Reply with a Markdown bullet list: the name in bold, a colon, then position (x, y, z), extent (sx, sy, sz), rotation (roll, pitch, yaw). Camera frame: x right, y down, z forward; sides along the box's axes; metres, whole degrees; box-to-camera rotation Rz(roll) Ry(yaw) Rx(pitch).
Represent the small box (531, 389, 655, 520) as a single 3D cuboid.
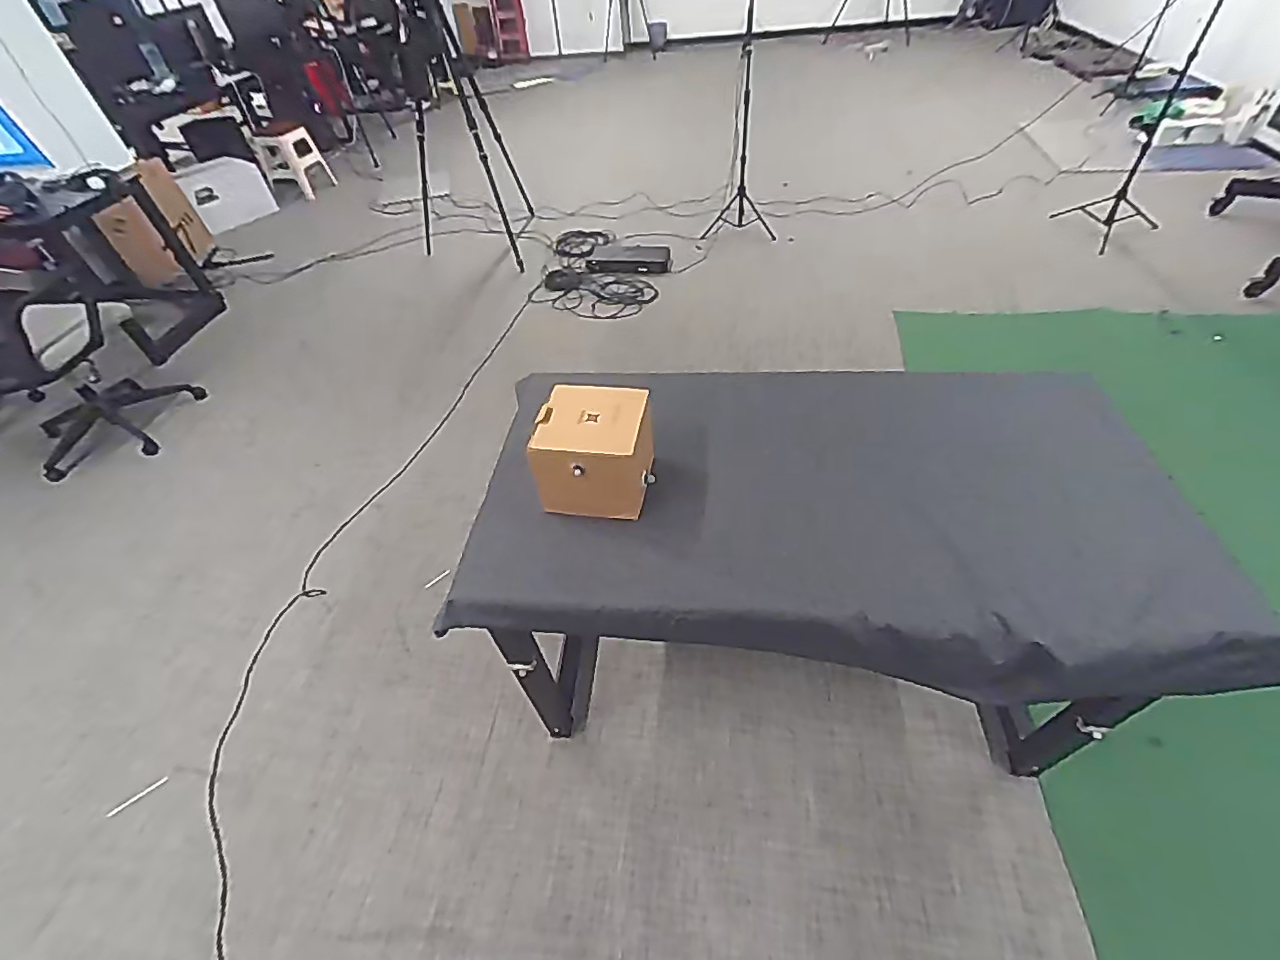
- **small box**: position (-0.072, -0.044, 0.968), extent (0.179, 0.176, 0.168), rotation (5, 49, 9)
